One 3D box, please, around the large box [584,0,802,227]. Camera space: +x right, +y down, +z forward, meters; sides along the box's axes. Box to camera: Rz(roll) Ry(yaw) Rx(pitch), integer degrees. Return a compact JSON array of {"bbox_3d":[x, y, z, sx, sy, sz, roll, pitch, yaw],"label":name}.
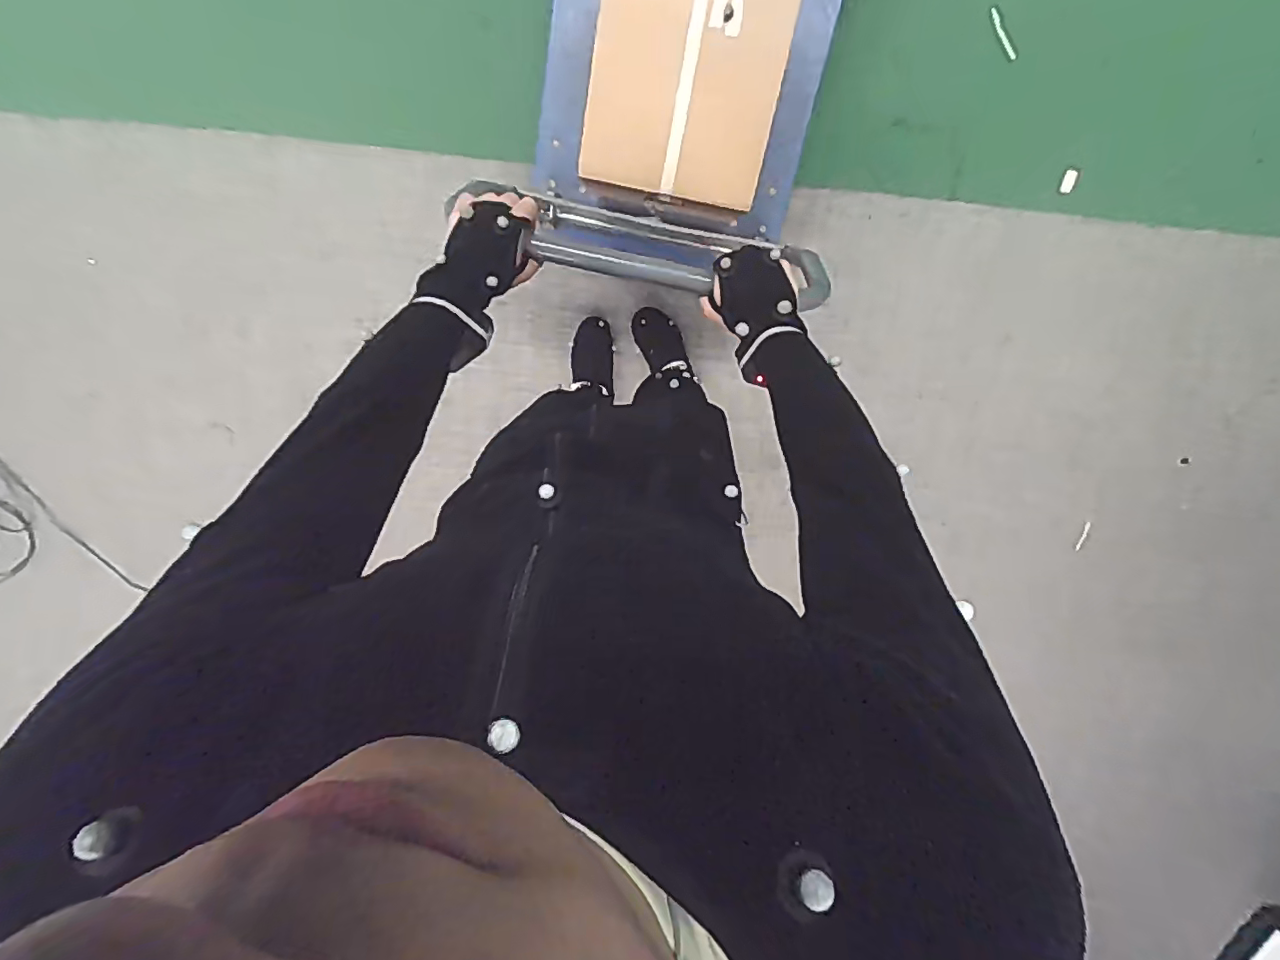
[{"bbox_3d":[0.093,-0.735,1.034,0.320,0.320,0.408,11,111,-2],"label":"large box"}]
